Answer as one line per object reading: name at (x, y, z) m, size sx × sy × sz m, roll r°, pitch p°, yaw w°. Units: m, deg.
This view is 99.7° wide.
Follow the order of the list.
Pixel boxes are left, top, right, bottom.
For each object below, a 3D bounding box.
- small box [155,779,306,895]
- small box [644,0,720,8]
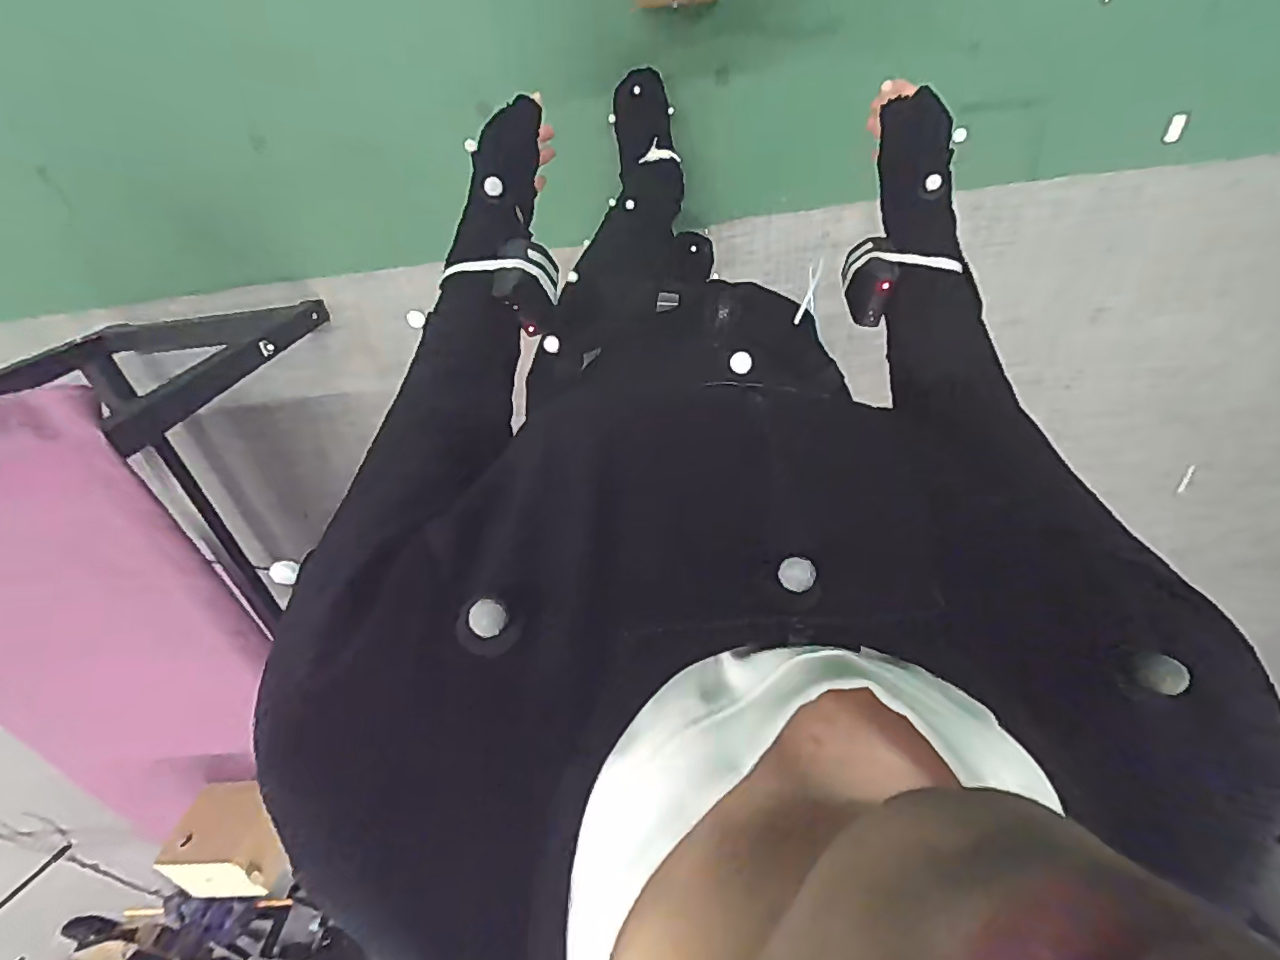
small box at (-0.901, 0.795, 1.210) m, size 0.179 × 0.176 × 0.168 m, roll -4°, pitch 124°, yaw 3°
small box at (0.077, -0.934, 0.914) m, size 0.168 × 0.176 × 0.179 m, roll -3°, pitch 125°, yaw 2°
